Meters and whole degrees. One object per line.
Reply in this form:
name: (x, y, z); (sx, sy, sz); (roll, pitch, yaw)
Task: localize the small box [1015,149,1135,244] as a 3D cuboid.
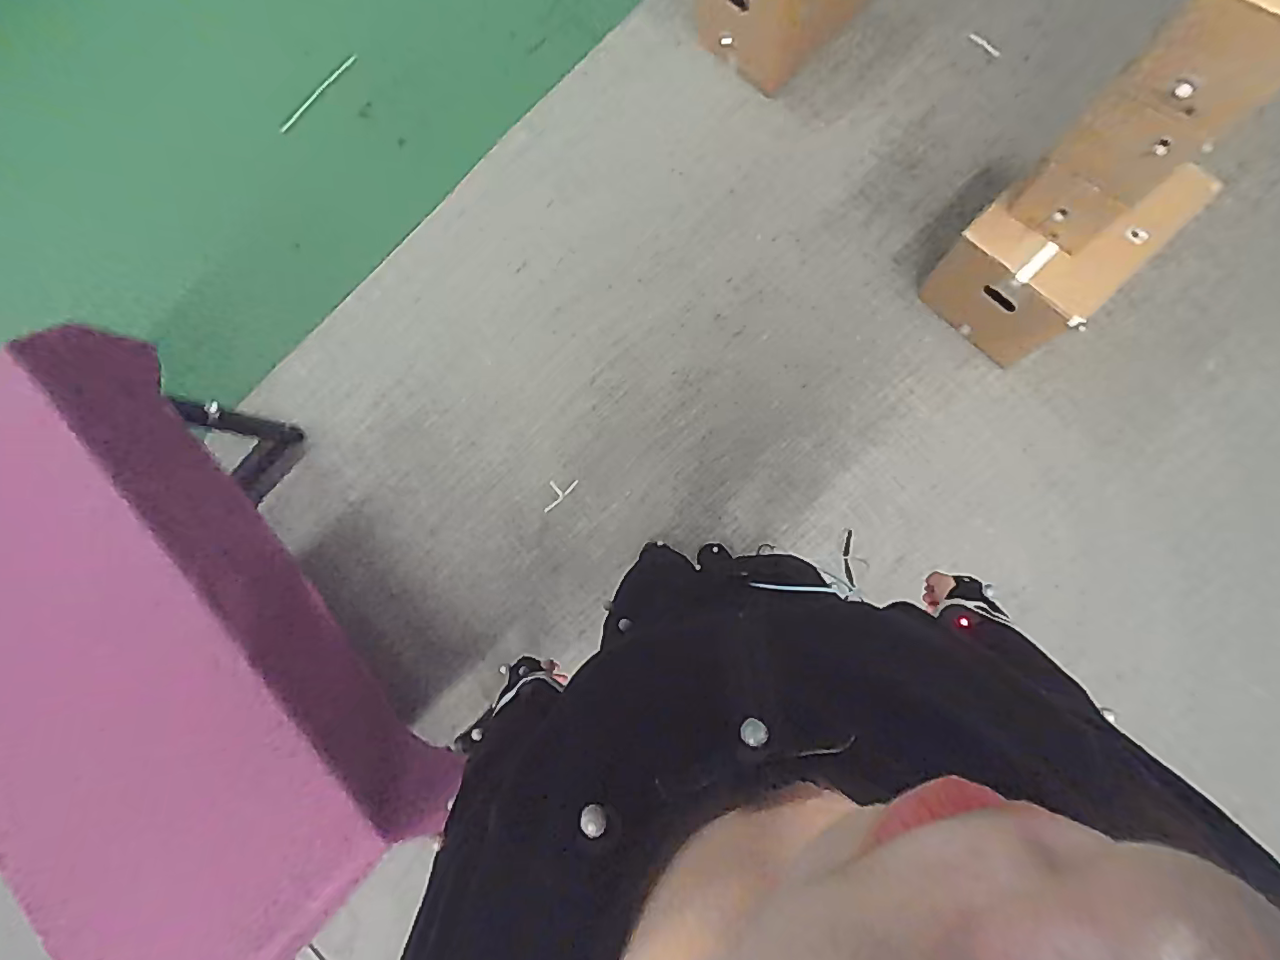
small box: (0.887, -0.608, 1.064); (0.168, 0.176, 0.179); (43, 93, 12)

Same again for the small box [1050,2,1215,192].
small box: (0.854, -0.623, 0.903); (0.179, 0.176, 0.168); (42, 92, 12)

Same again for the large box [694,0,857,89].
large box: (0.389, -1.401, 1.465); (0.408, 0.320, 0.320); (-44, 79, 2)
